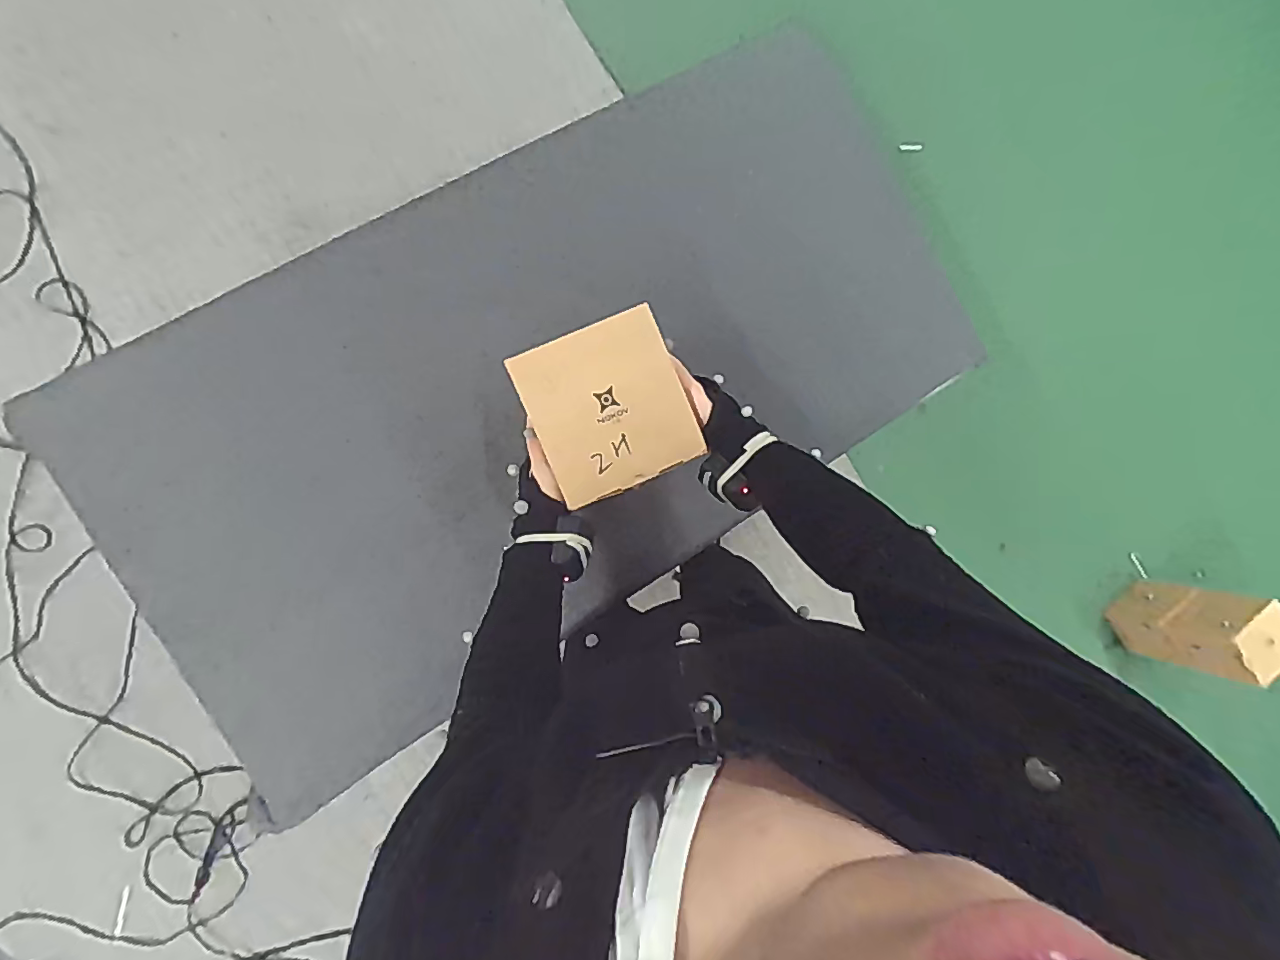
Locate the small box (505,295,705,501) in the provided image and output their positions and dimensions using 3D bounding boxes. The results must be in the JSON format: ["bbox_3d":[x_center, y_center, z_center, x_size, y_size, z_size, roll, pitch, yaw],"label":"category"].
[{"bbox_3d":[-0.044,-0.089,0.645,0.168,0.176,0.179,-23,96,-4],"label":"small box"}]

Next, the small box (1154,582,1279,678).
[{"bbox_3d":[1.602,0.406,1.500,0.179,0.176,0.168,-37,95,-7],"label":"small box"}]
